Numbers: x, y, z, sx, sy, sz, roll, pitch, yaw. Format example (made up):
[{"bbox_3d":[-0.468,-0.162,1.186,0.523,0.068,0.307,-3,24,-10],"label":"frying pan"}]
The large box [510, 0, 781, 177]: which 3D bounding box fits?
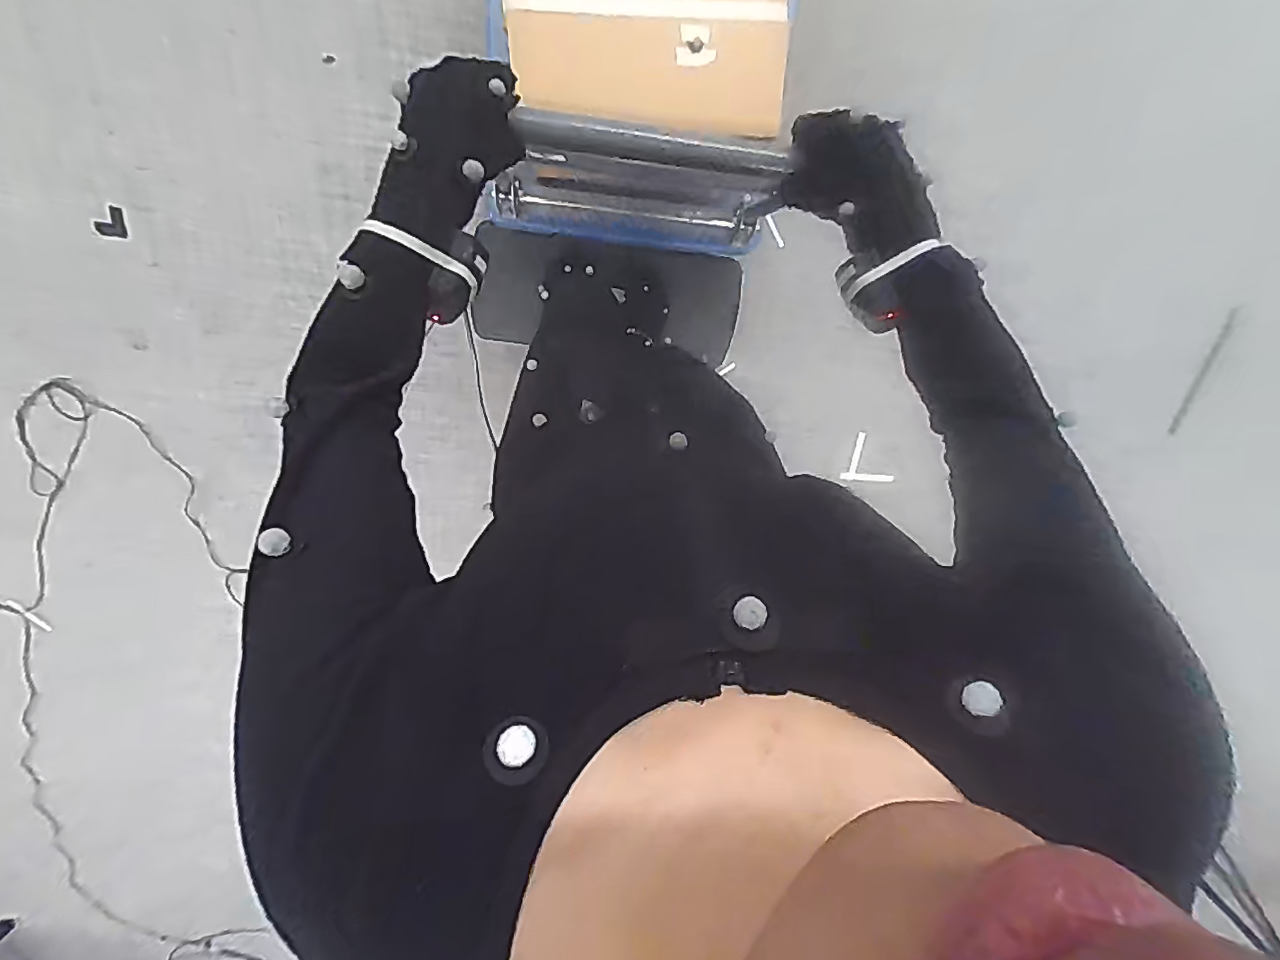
[{"bbox_3d":[-0.005,-0.727,0.927,0.408,0.320,0.320,-2,108,-6],"label":"large box"}]
